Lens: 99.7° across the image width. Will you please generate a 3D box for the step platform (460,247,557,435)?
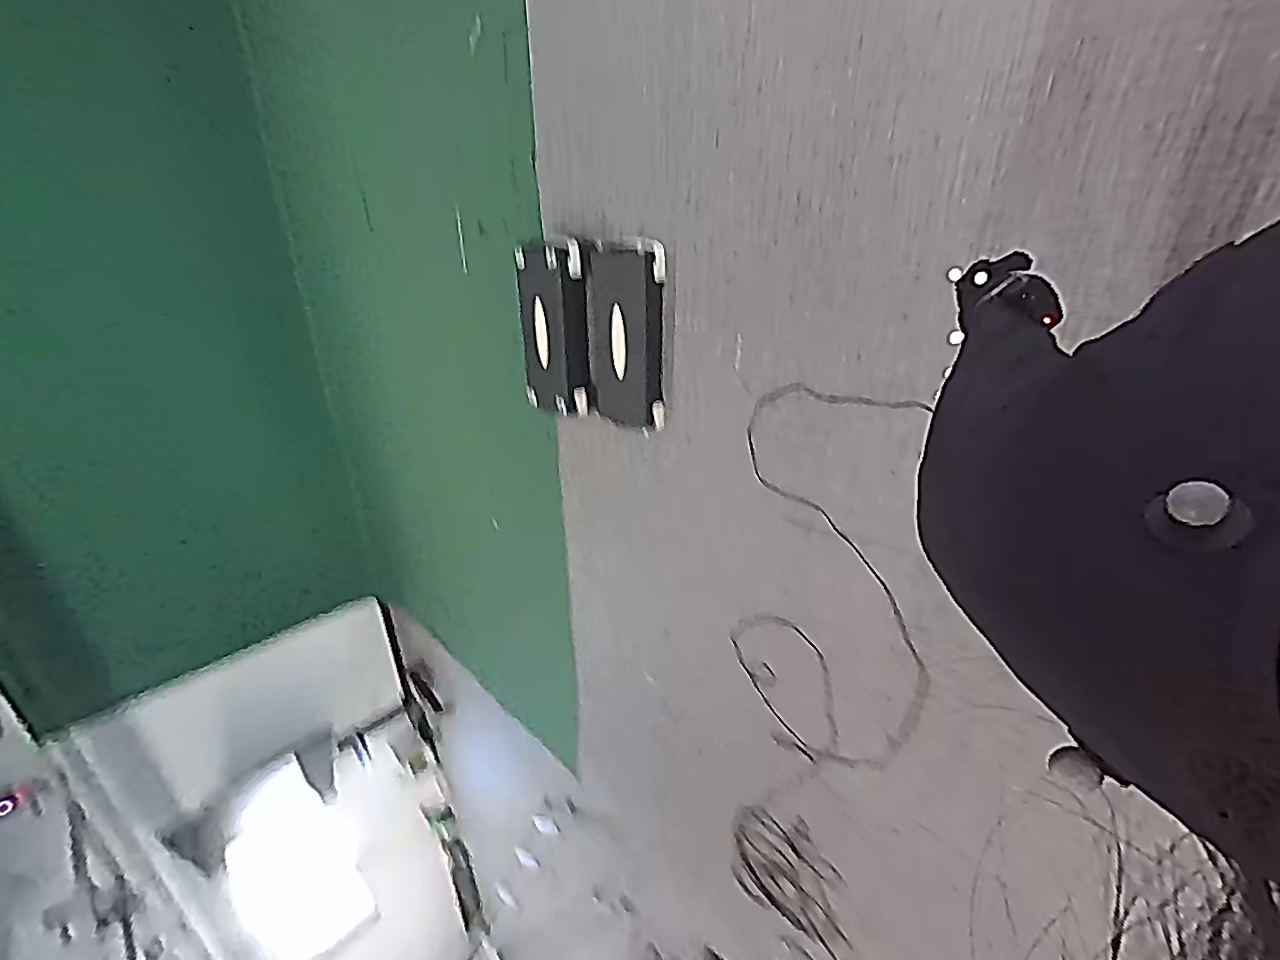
[{"bbox_3d":[-0.496,-0.531,2.087,0.286,0.204,0.684,21,123,38],"label":"step platform"}]
